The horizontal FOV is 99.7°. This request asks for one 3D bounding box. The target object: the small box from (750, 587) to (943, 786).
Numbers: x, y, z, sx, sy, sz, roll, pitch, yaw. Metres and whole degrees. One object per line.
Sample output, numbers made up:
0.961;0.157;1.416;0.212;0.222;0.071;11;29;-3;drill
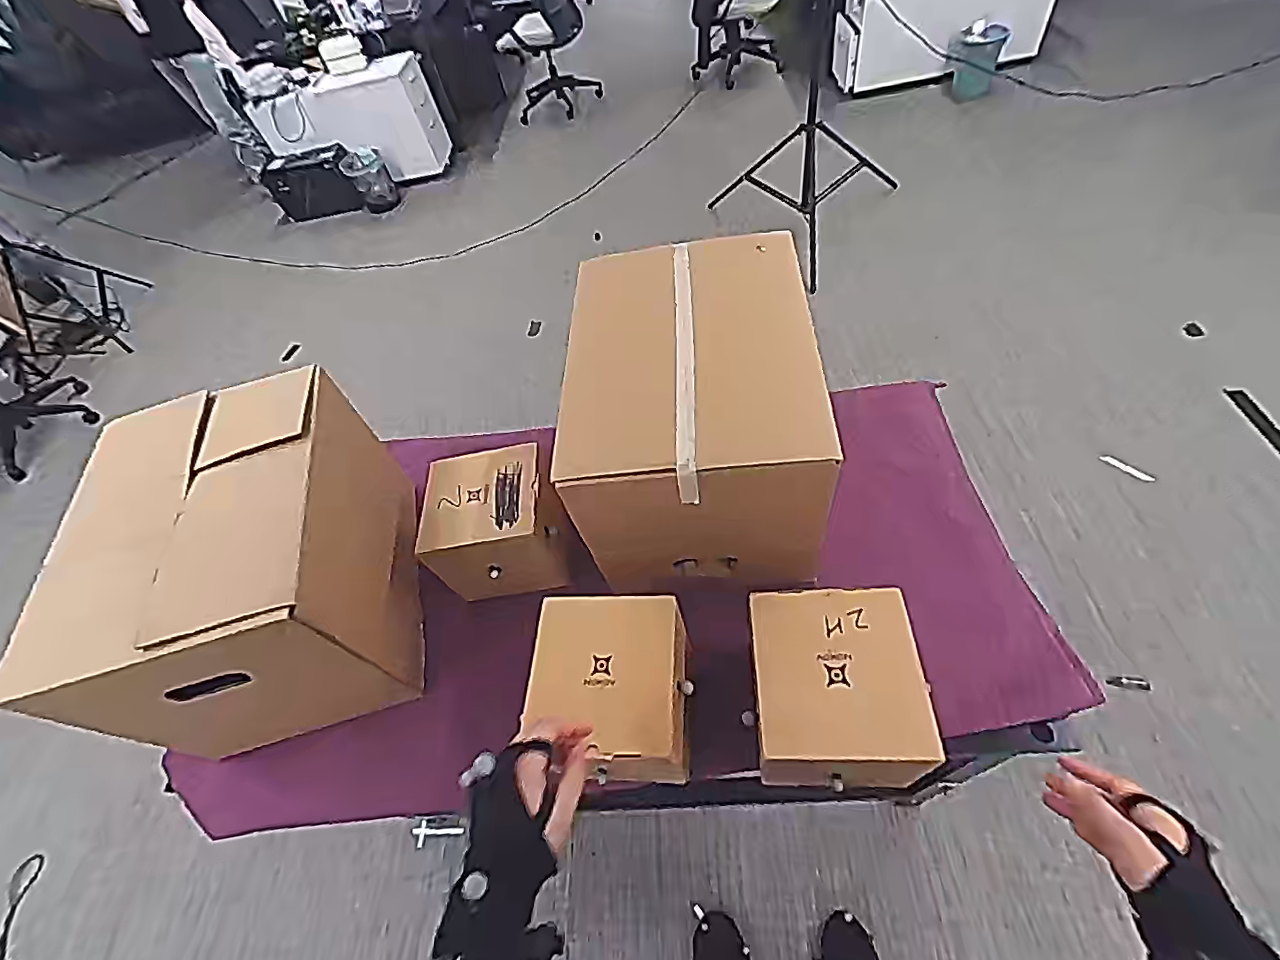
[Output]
0.215;0.238;0.614;0.168;0.176;0.179;-4;52;9;small box
